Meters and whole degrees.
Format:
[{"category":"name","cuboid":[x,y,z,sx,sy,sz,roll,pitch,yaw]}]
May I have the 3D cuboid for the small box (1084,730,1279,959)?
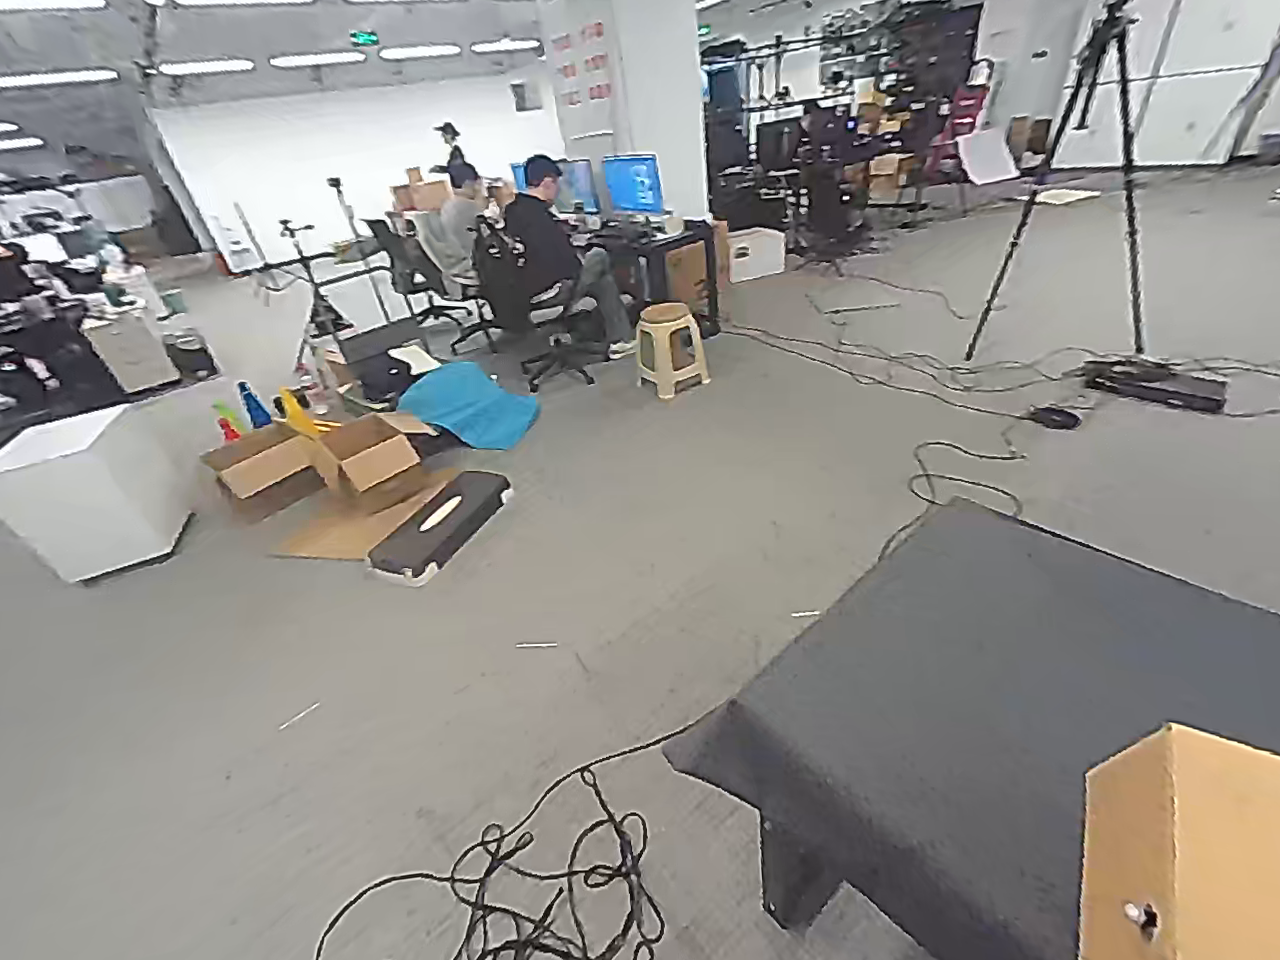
[{"category":"small box","cuboid":[0.451,0.315,0.385,0.168,0.176,0.179,15,59,27]}]
